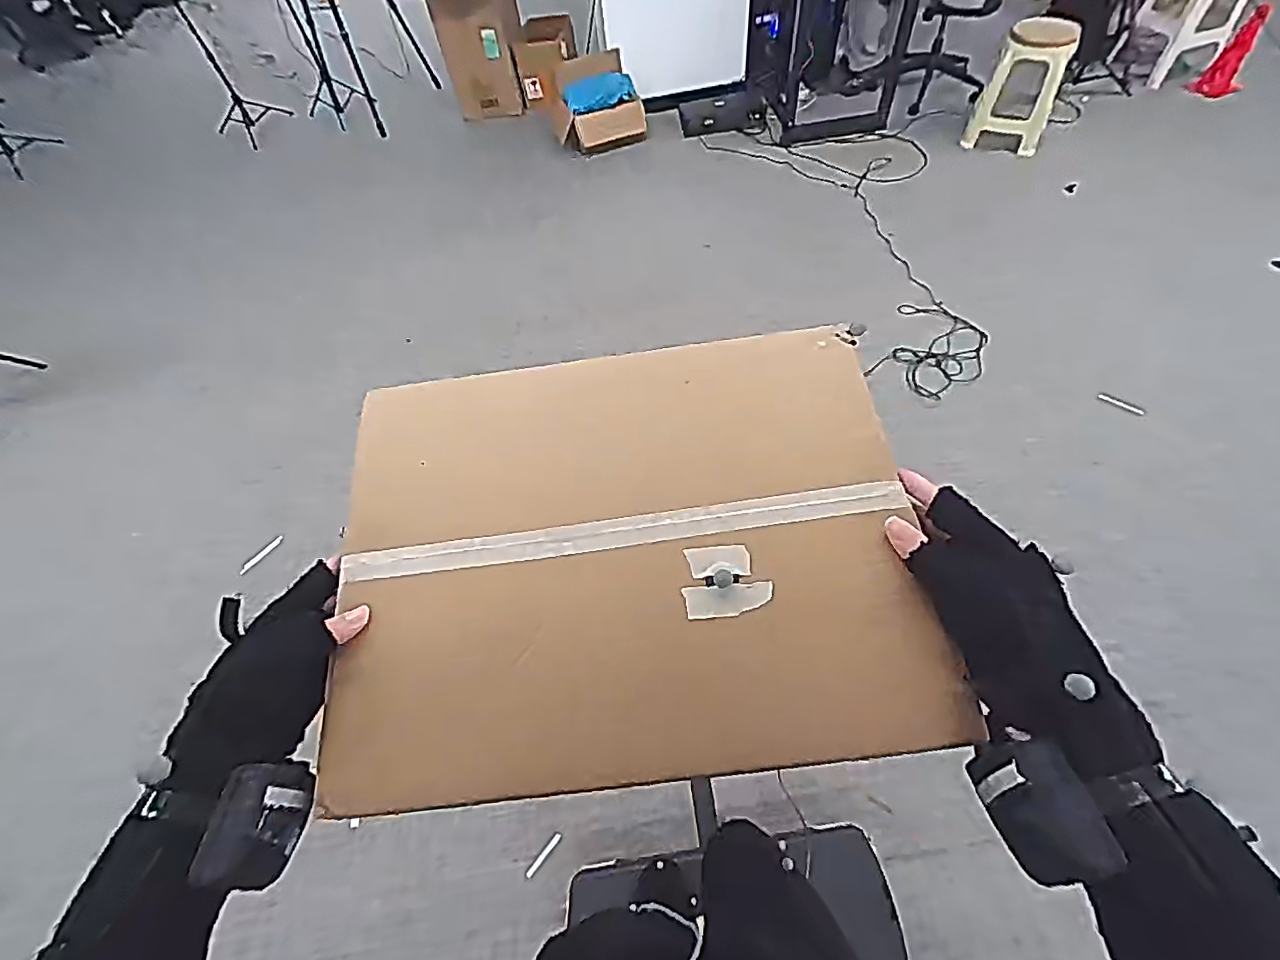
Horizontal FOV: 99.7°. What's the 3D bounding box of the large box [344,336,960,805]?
[{"bbox_3d":[-0.001,0.104,0.537,0.408,0.320,0.320,-8,65,2],"label":"large box"}]
